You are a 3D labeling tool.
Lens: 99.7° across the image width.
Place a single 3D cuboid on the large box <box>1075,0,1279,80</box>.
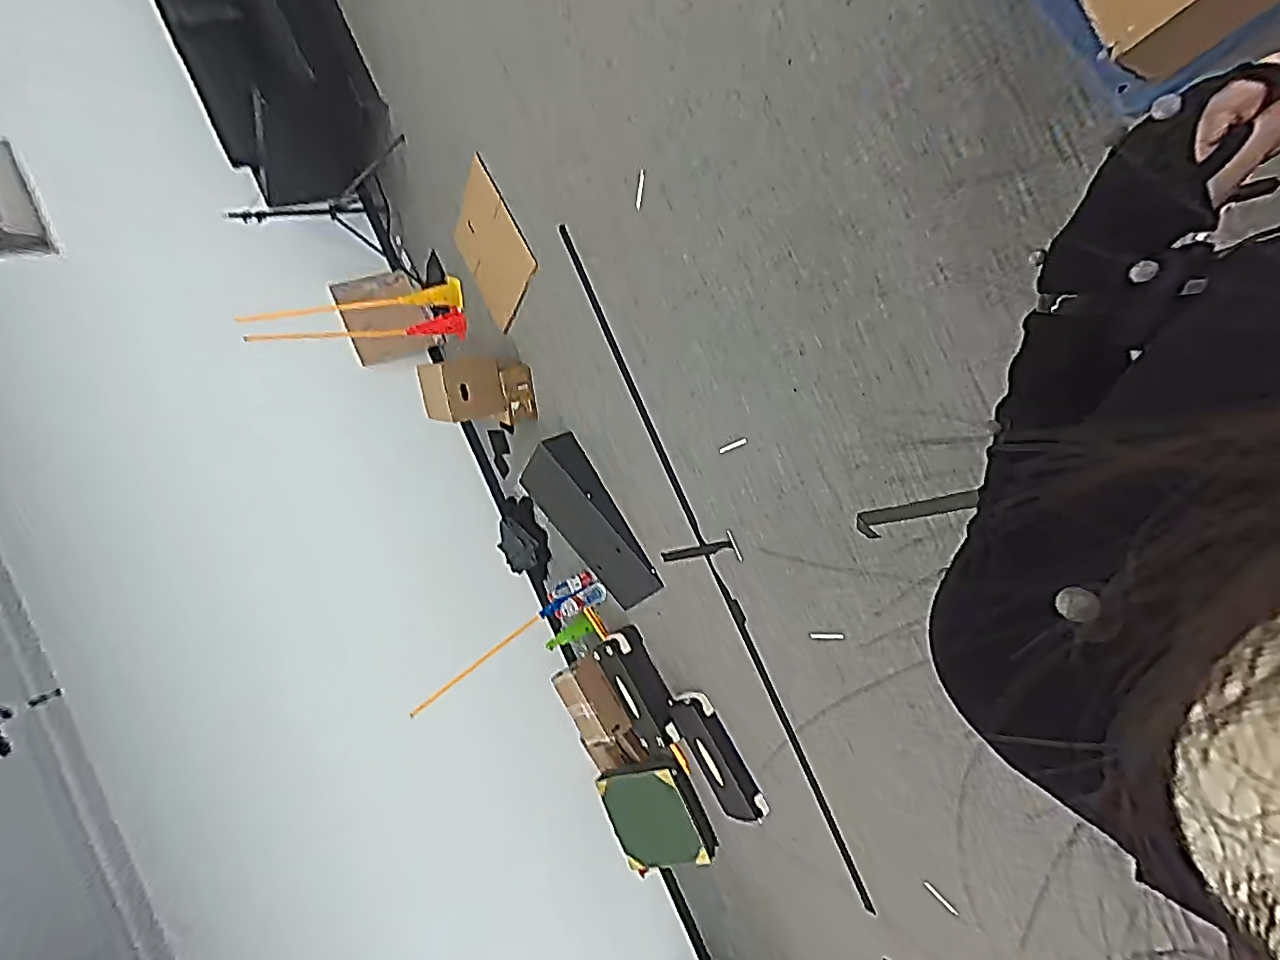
[{"bbox_3d":[0.751,-0.774,0.622,0.408,0.320,0.320,-28,85,55],"label":"large box"}]
